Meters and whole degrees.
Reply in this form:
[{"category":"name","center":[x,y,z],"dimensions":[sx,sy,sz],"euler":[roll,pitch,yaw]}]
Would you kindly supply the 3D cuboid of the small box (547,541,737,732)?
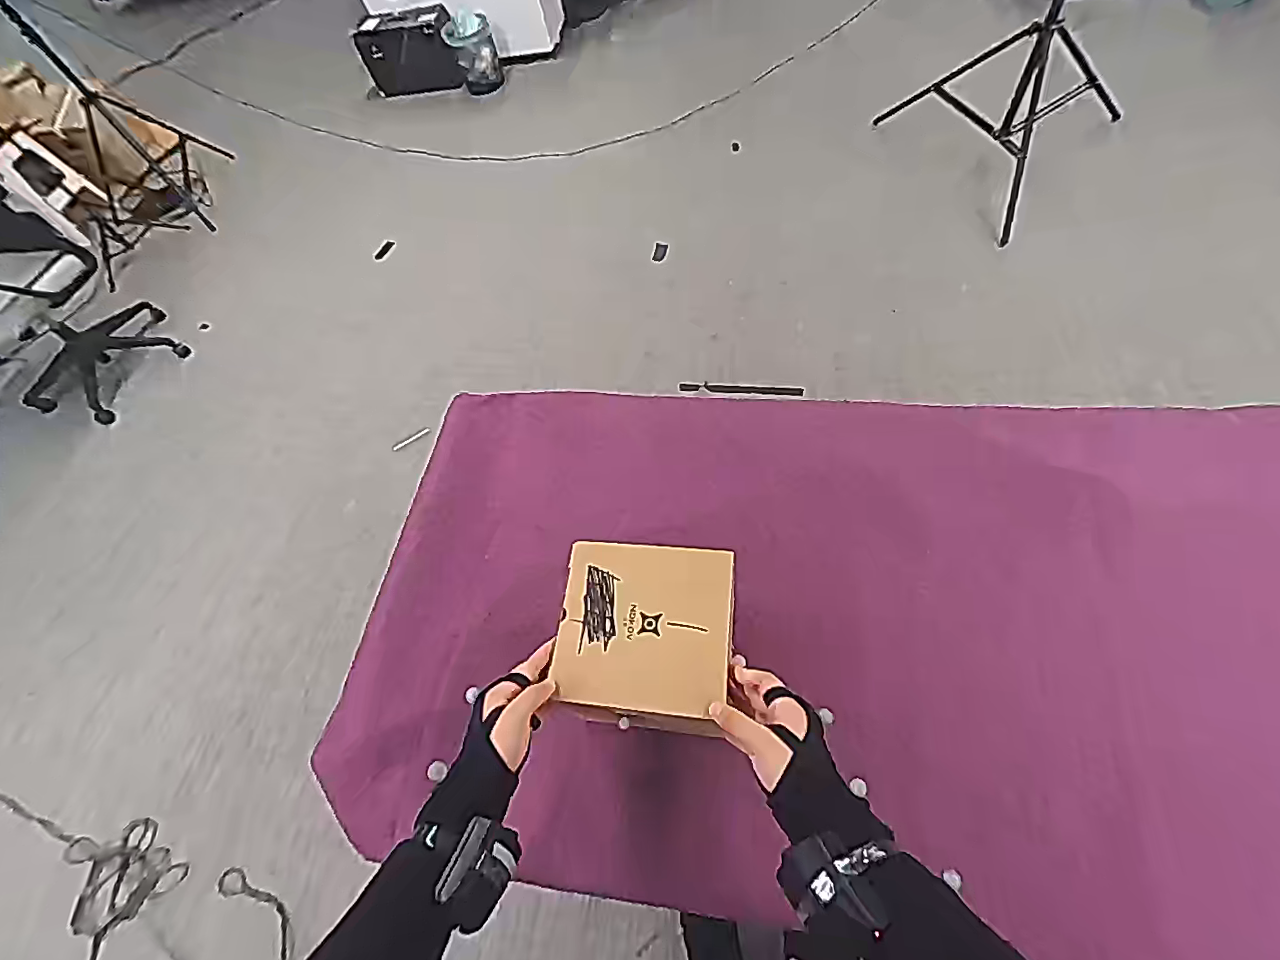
[{"category":"small box","center":[0.017,0.181,0.609],"dimensions":[0.179,0.176,0.168],"euler":[2,61,11]}]
